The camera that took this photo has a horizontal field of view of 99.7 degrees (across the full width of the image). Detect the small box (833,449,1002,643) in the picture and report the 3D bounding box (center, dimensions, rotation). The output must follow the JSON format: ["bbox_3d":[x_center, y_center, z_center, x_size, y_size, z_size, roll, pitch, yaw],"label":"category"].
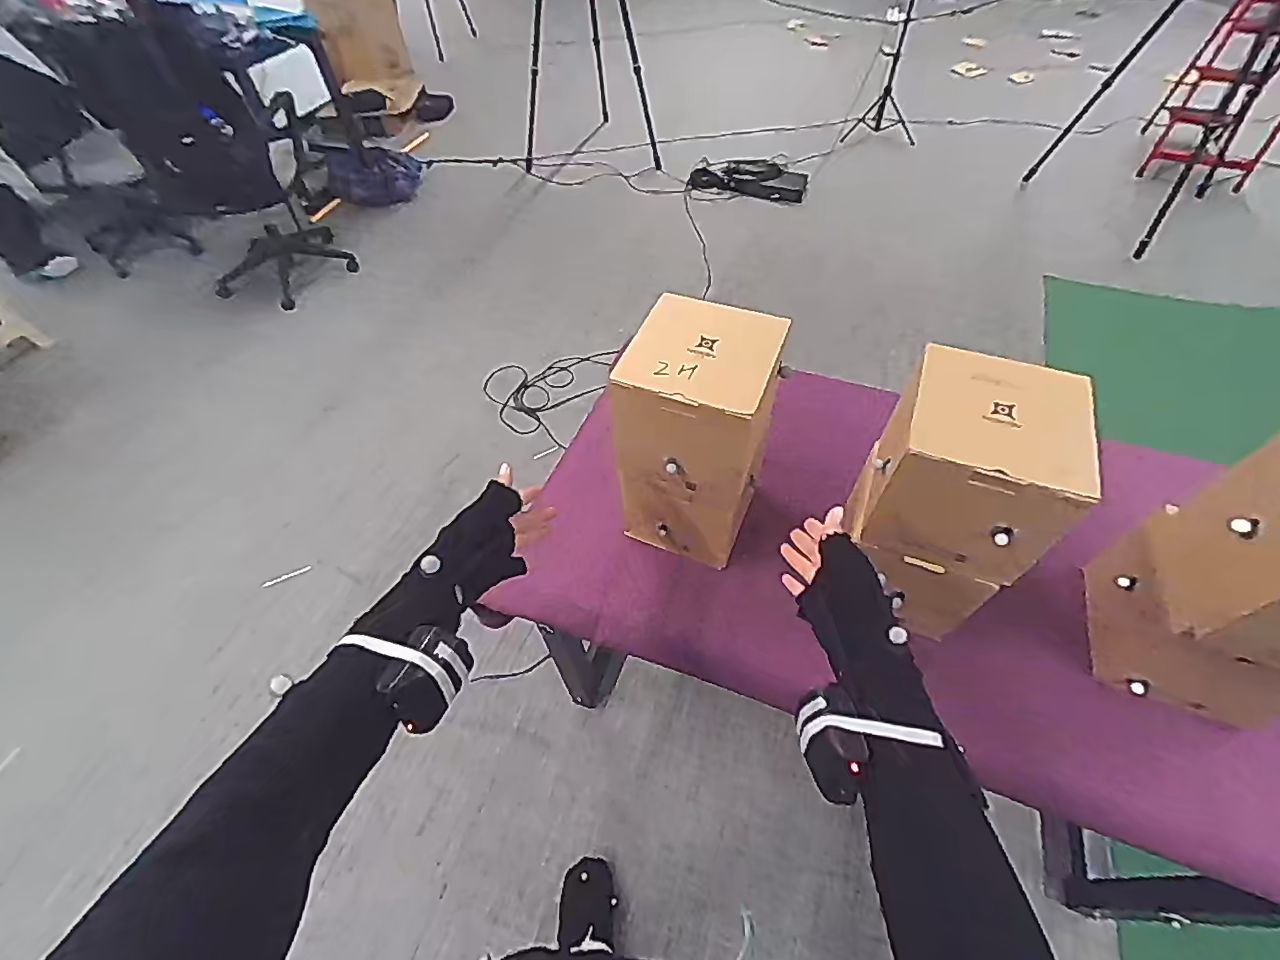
[{"bbox_3d":[0.368,0.092,0.729,0.168,0.176,0.179,16,54,19],"label":"small box"}]

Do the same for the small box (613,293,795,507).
[{"bbox_3d":[0.078,-0.099,0.675,0.168,0.176,0.179,18,56,15],"label":"small box"}]

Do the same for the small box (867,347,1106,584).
[{"bbox_3d":[0.367,-0.012,0.598,0.168,0.176,0.179,18,55,15],"label":"small box"}]

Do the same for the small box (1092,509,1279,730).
[{"bbox_3d":[0.686,0.171,0.648,0.168,0.176,0.179,21,57,15],"label":"small box"}]
